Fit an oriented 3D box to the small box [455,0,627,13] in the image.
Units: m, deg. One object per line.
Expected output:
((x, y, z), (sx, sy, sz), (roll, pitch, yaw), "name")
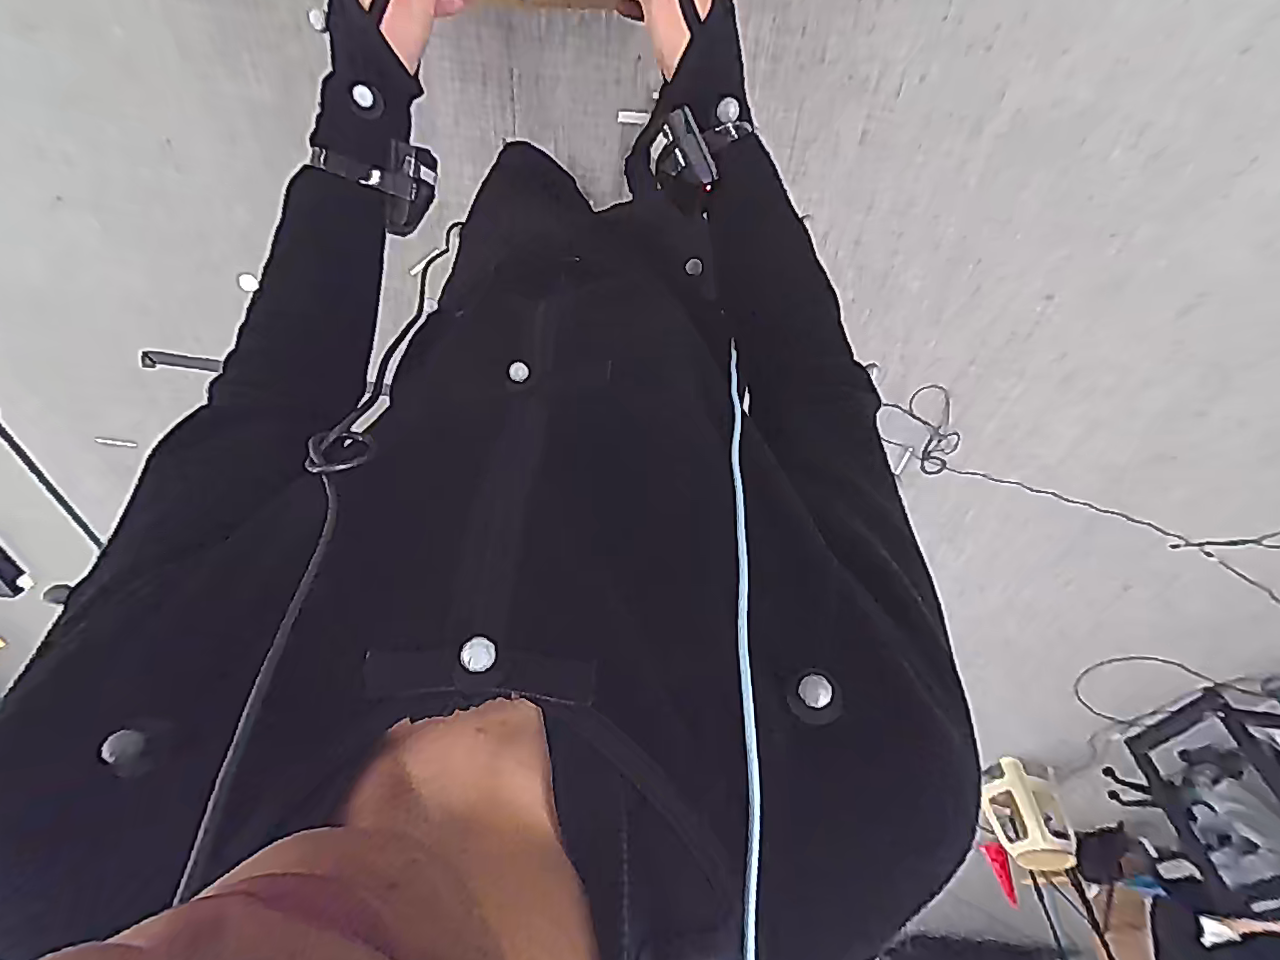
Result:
((-0.084, -0.479, 0.411), (0.179, 0.176, 0.168), (-4, 123, -6), "small box")
